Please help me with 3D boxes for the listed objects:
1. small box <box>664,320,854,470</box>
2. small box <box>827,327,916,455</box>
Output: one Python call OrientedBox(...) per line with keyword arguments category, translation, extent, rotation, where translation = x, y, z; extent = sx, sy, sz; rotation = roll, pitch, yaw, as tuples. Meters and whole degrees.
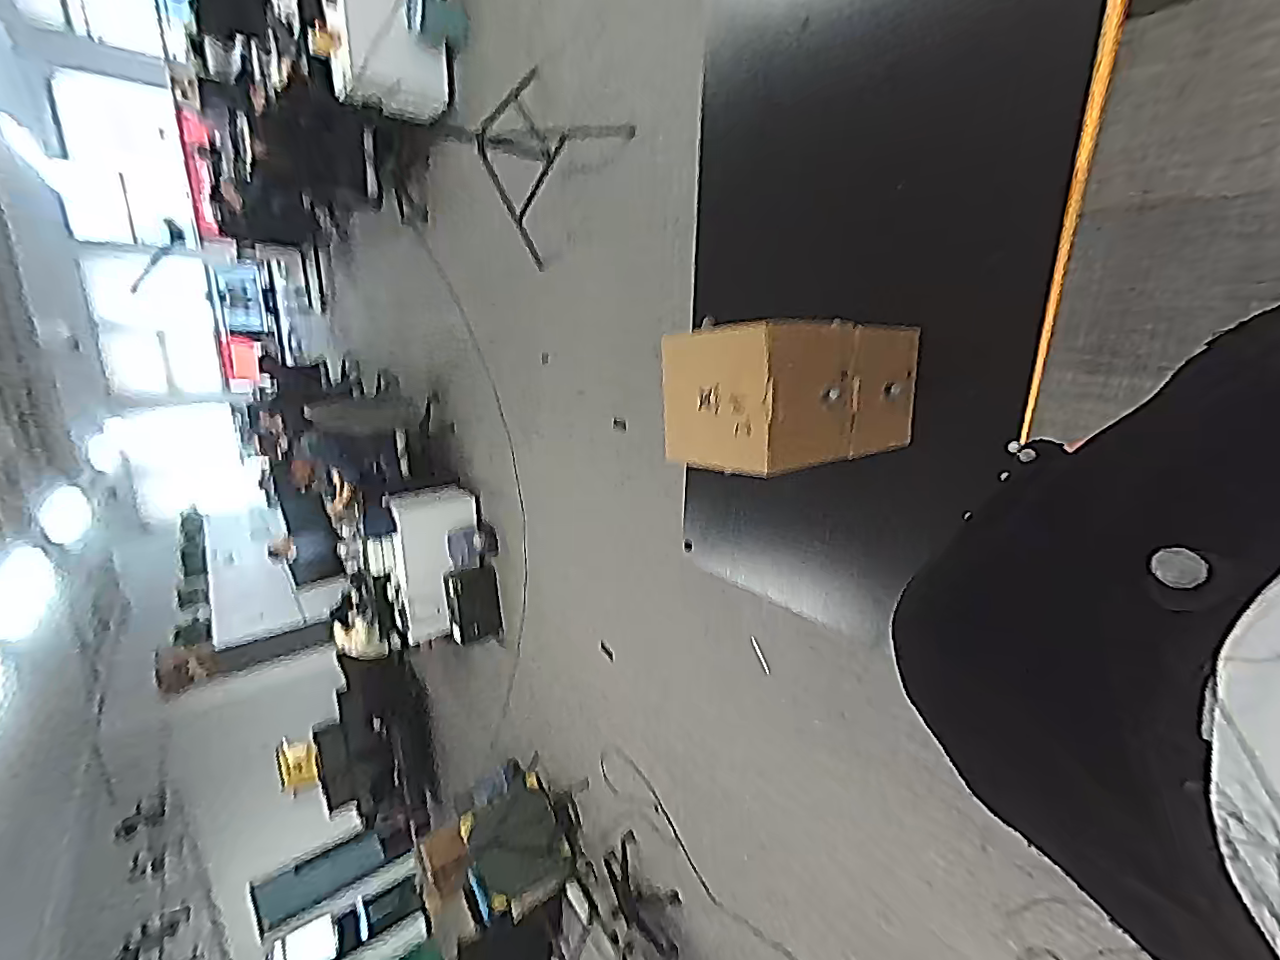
OrientedBox(category="small box", translation=(0.151, -0.113, 0.704), extent=(0.179, 0.176, 0.168), rotation=(11, 108, 51))
OrientedBox(category="small box", translation=(0.284, -0.137, 0.801), extent=(0.179, 0.176, 0.168), rotation=(13, 109, 50))
